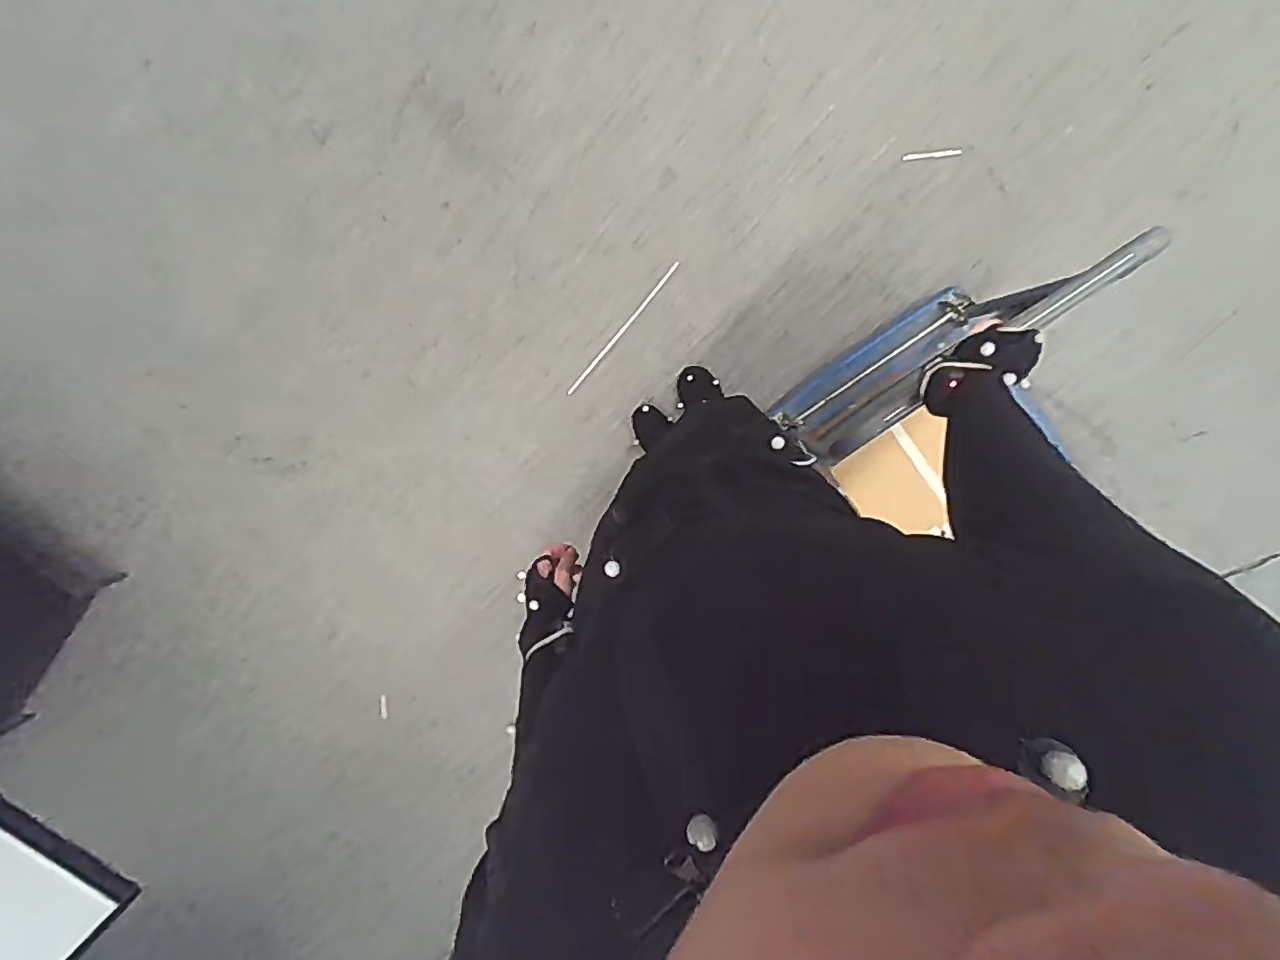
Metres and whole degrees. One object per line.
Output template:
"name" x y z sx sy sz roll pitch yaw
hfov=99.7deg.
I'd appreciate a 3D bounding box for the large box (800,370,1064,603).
"large box" 0.640 -0.005 1.257 0.320 0.320 0.408 -37 97 12
